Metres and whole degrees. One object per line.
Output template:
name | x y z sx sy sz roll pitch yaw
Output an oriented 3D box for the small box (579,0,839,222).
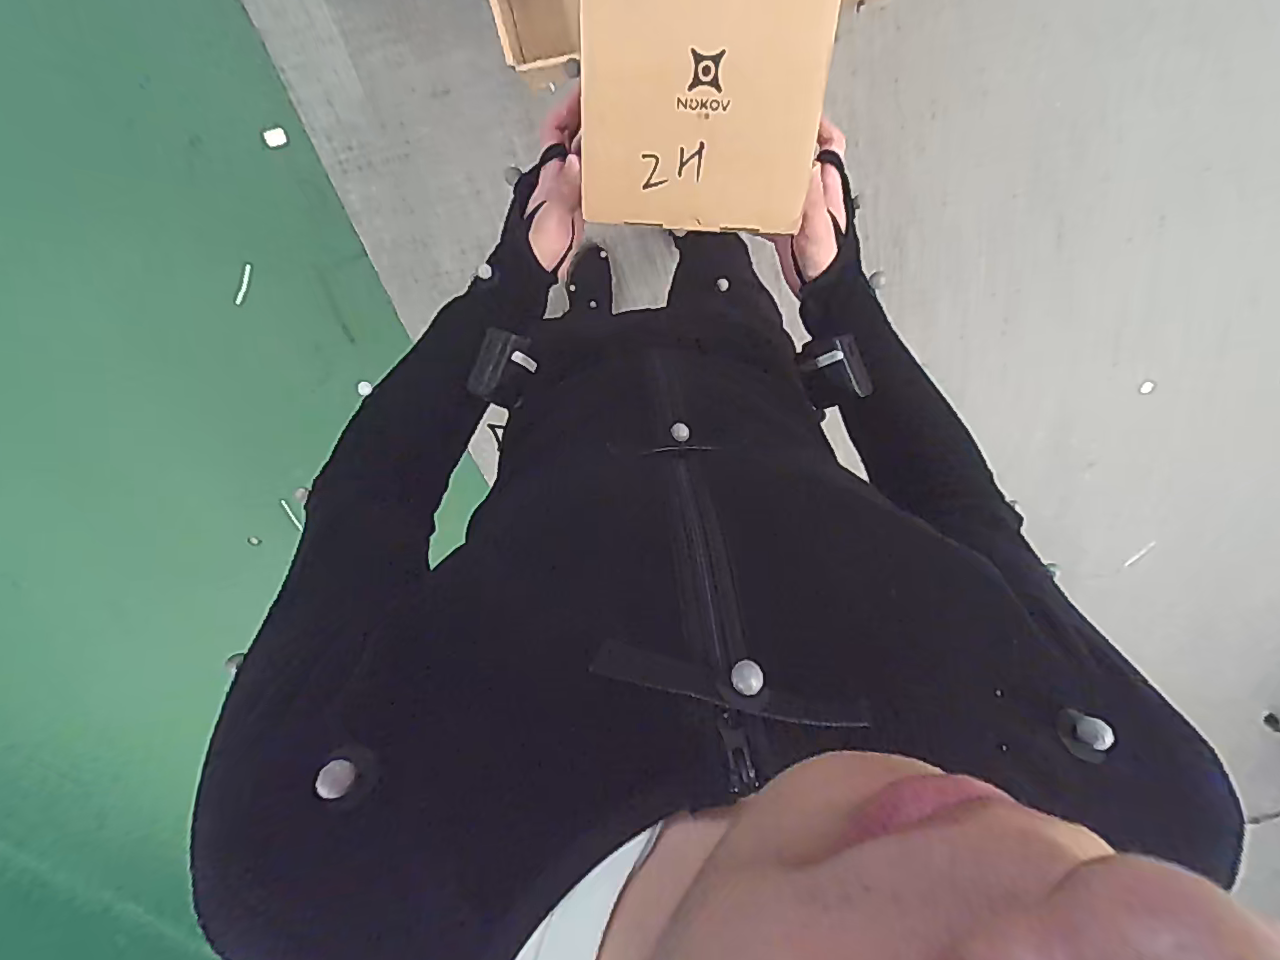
small box | 0.042 -0.309 0.425 0.168 0.176 0.179 2 120 0
